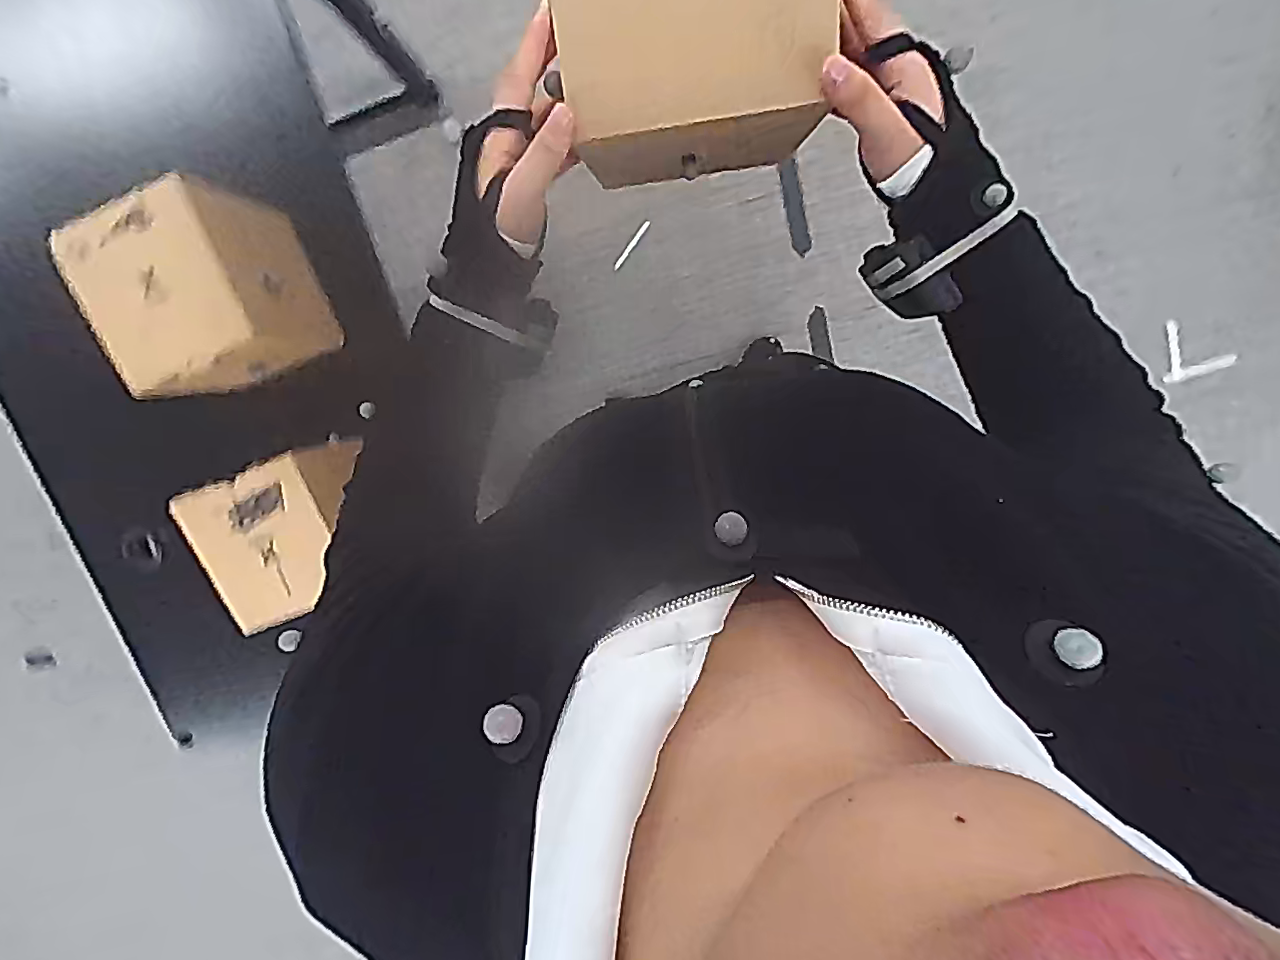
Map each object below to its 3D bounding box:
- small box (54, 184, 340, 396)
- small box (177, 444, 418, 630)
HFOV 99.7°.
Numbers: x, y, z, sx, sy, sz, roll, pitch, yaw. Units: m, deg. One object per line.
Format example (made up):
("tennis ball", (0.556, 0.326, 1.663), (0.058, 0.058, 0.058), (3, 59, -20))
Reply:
("small box", (-0.509, -0.218, 0.654), (0.168, 0.176, 0.179), (-21, 102, 7))
("small box", (-0.429, 0.060, 0.710), (0.168, 0.176, 0.179), (-21, 101, 7))
